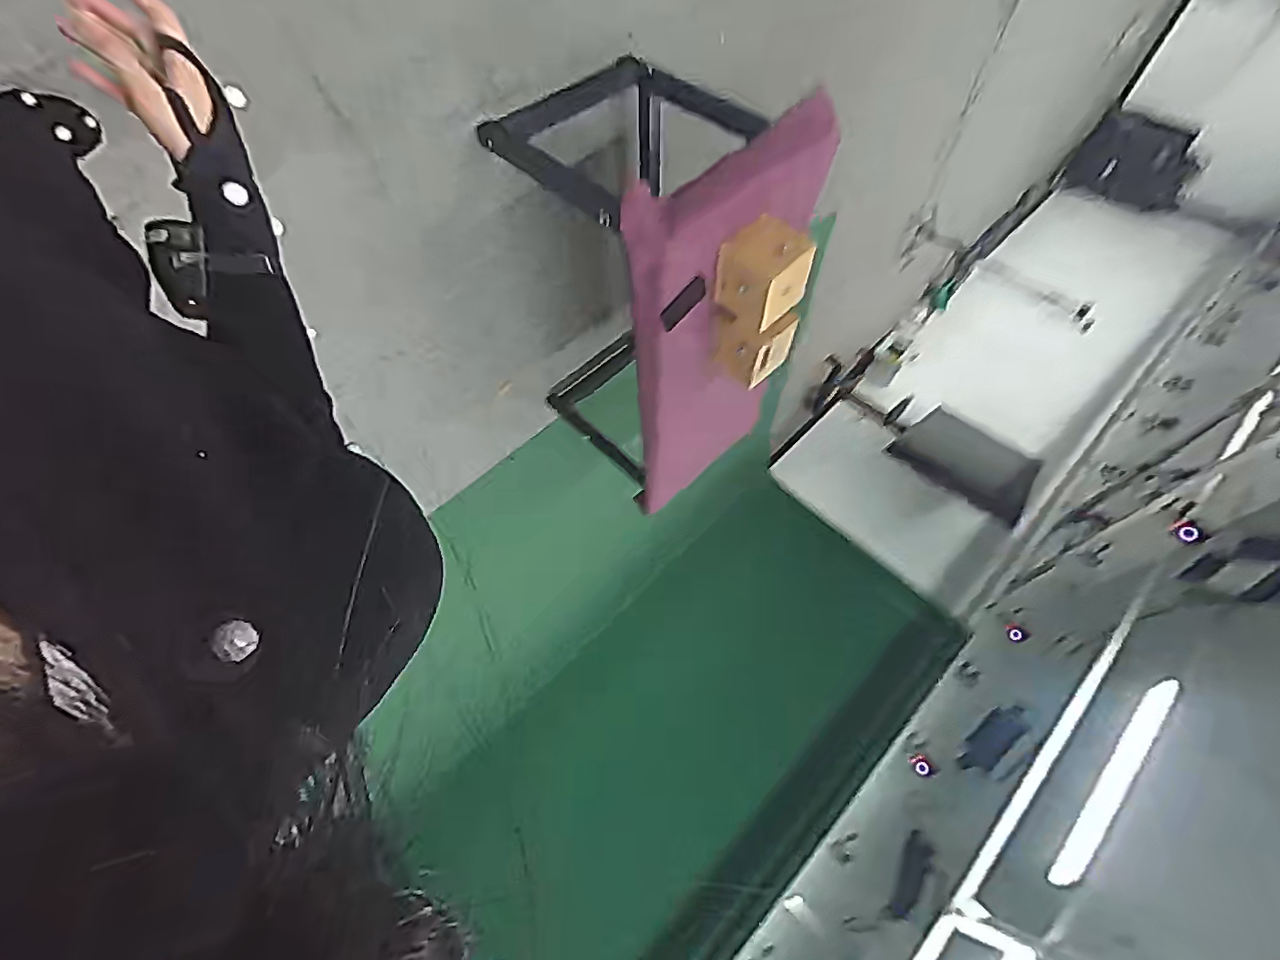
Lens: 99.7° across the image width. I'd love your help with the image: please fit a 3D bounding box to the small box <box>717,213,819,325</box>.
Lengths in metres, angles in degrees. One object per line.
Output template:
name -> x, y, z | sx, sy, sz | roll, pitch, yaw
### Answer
small box -> 0.314, -0.533, 1.363 | 0.179, 0.176, 0.168 | -42, 157, -18
